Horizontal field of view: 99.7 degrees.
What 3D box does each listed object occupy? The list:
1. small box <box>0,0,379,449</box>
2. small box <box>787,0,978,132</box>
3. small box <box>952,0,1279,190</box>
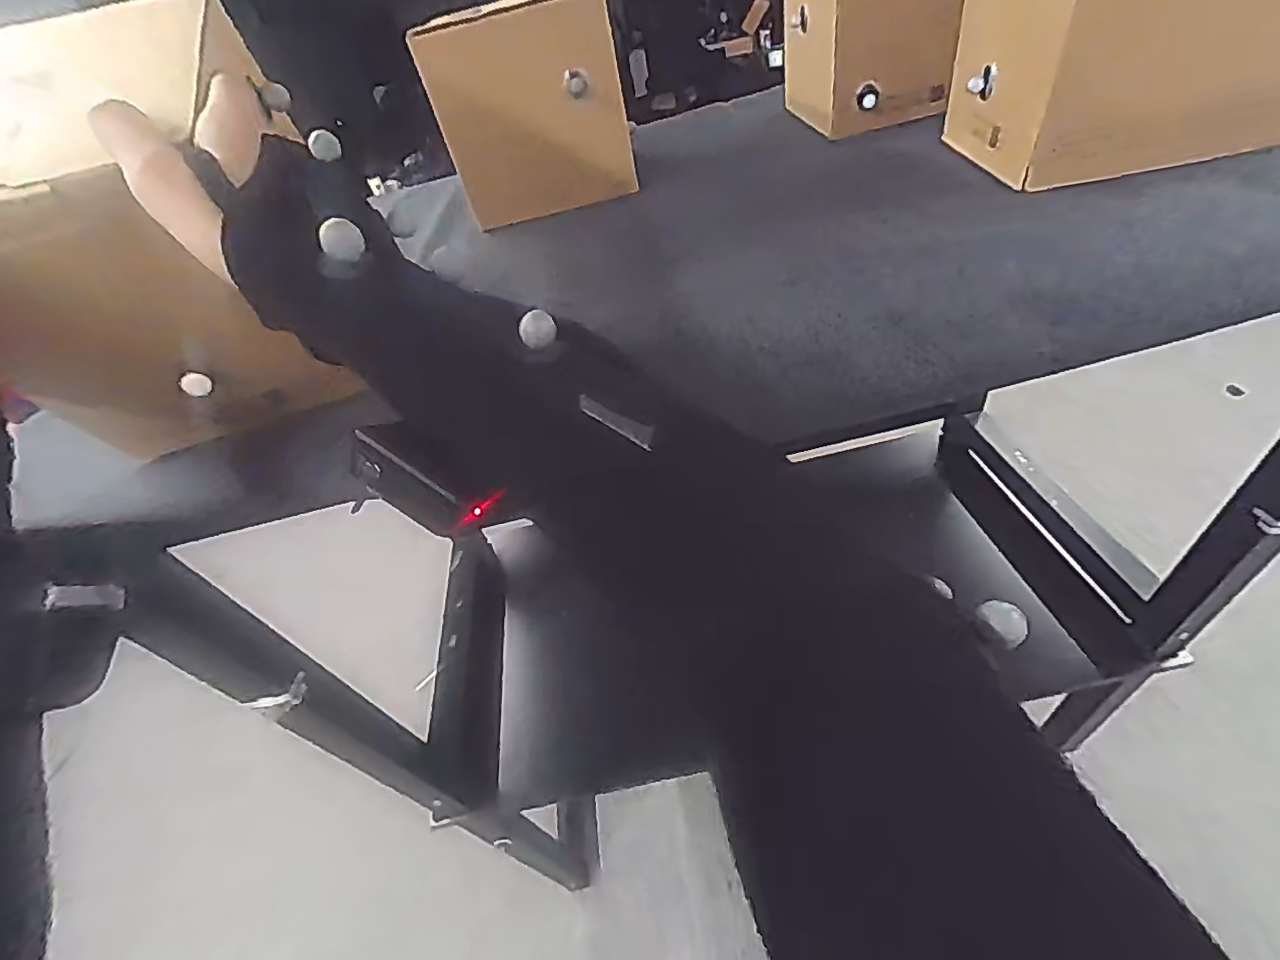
[{"bbox_3d":[-0.285,-0.149,0.333,0.168,0.176,0.179,-19,62,-6],"label":"small box"},{"bbox_3d":[0.255,-0.479,0.553,0.168,0.176,0.179,-12,43,5],"label":"small box"},{"bbox_3d":[0.344,-0.324,0.367,0.179,0.176,0.168,-7,43,11],"label":"small box"}]
